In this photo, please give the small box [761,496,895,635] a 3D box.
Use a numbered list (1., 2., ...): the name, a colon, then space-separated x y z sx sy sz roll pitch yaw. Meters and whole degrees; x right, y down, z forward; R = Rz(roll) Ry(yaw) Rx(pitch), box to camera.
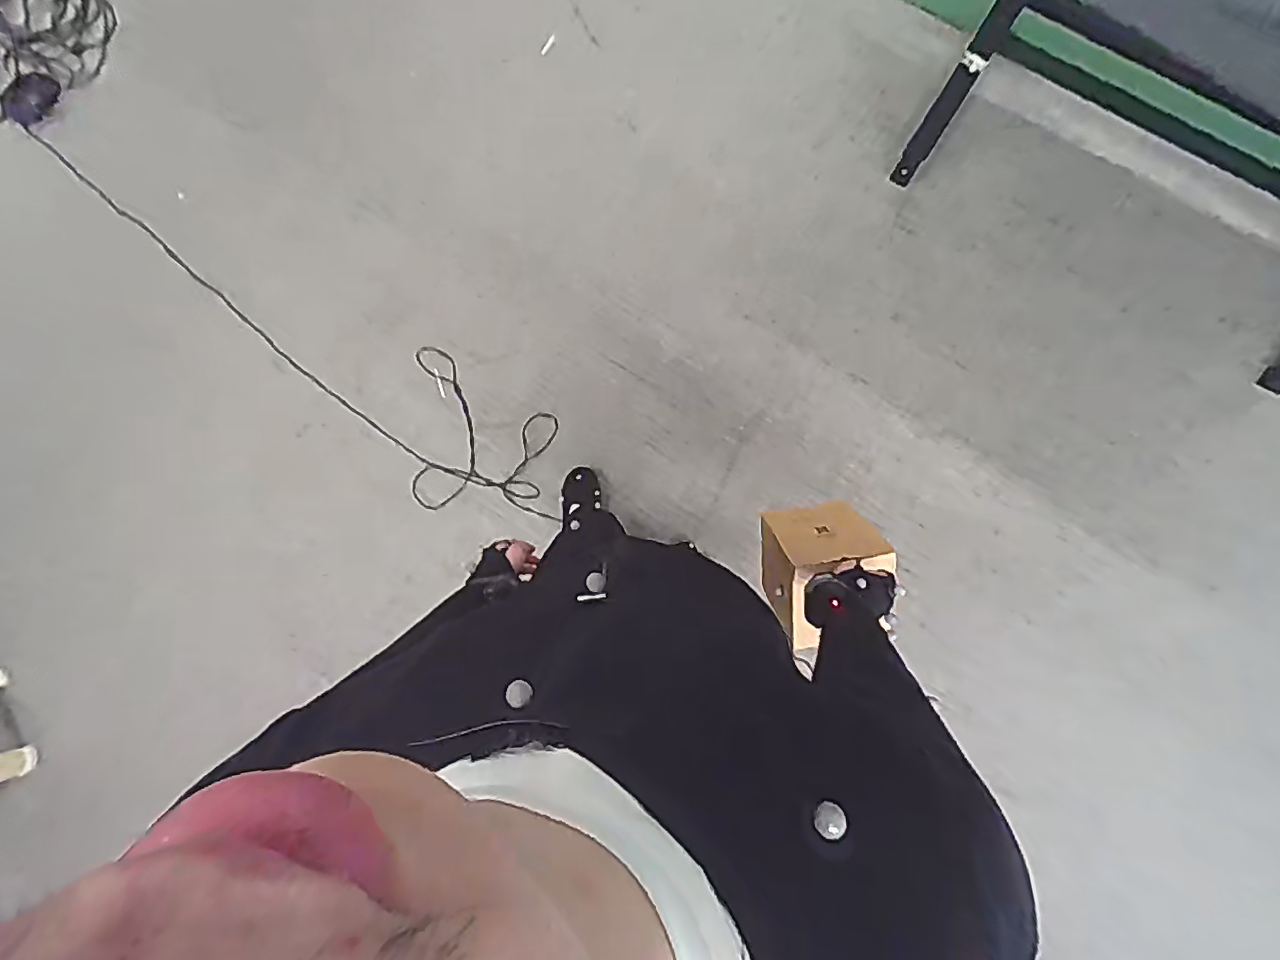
1. small box: 0.316 0.151 0.936 0.168 0.179 0.176 -8 115 -2
